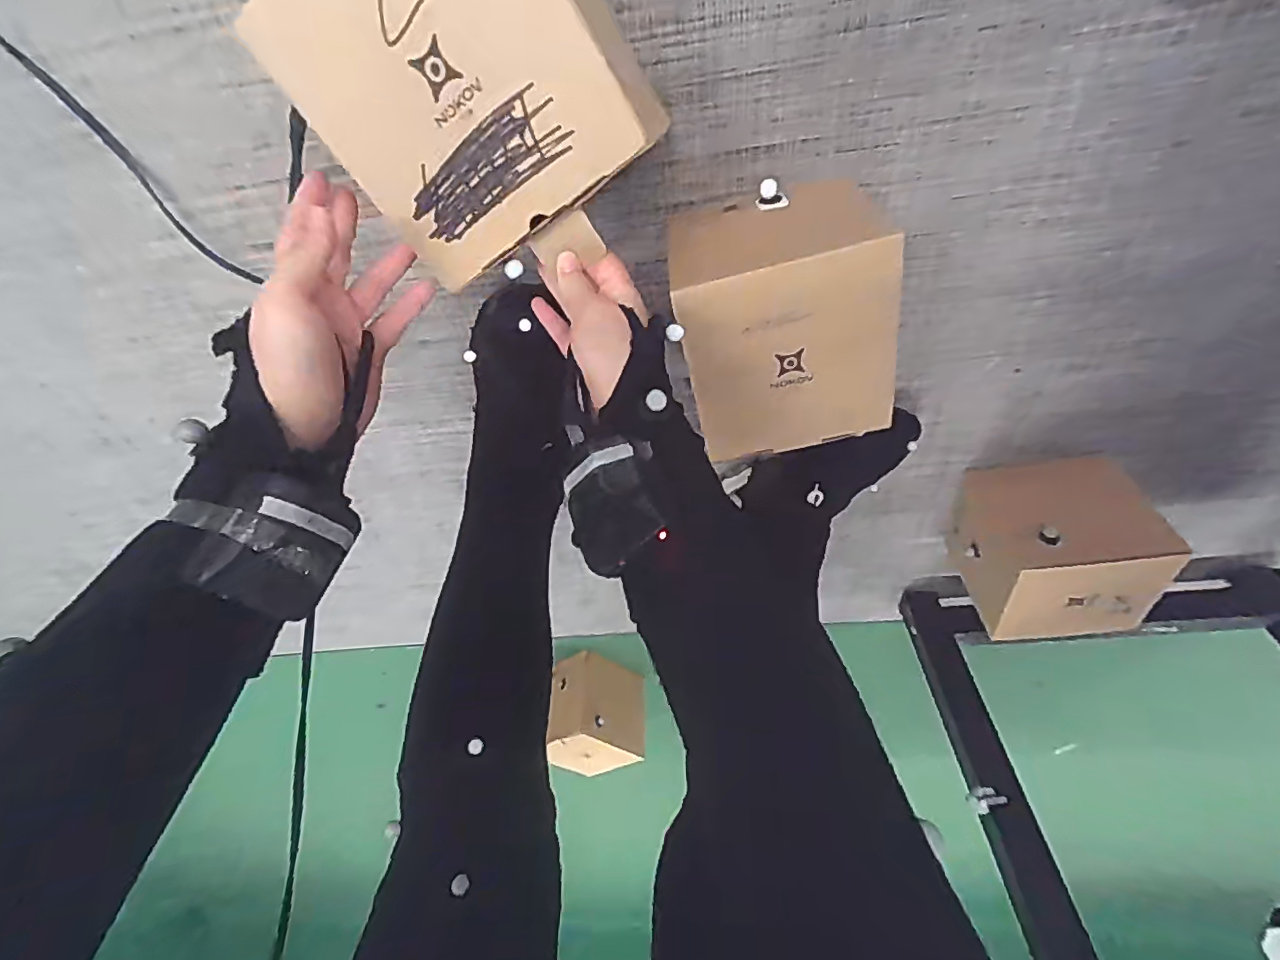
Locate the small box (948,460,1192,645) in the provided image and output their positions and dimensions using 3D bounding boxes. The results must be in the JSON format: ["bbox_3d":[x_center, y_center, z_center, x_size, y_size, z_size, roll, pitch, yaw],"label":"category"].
[{"bbox_3d":[0.535,0.094,0.711,0.179,0.176,0.168,-9,133,10],"label":"small box"}]

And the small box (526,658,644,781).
[{"bbox_3d":[-0.104,0.490,1.109,0.168,0.176,0.179,-34,124,29],"label":"small box"}]
